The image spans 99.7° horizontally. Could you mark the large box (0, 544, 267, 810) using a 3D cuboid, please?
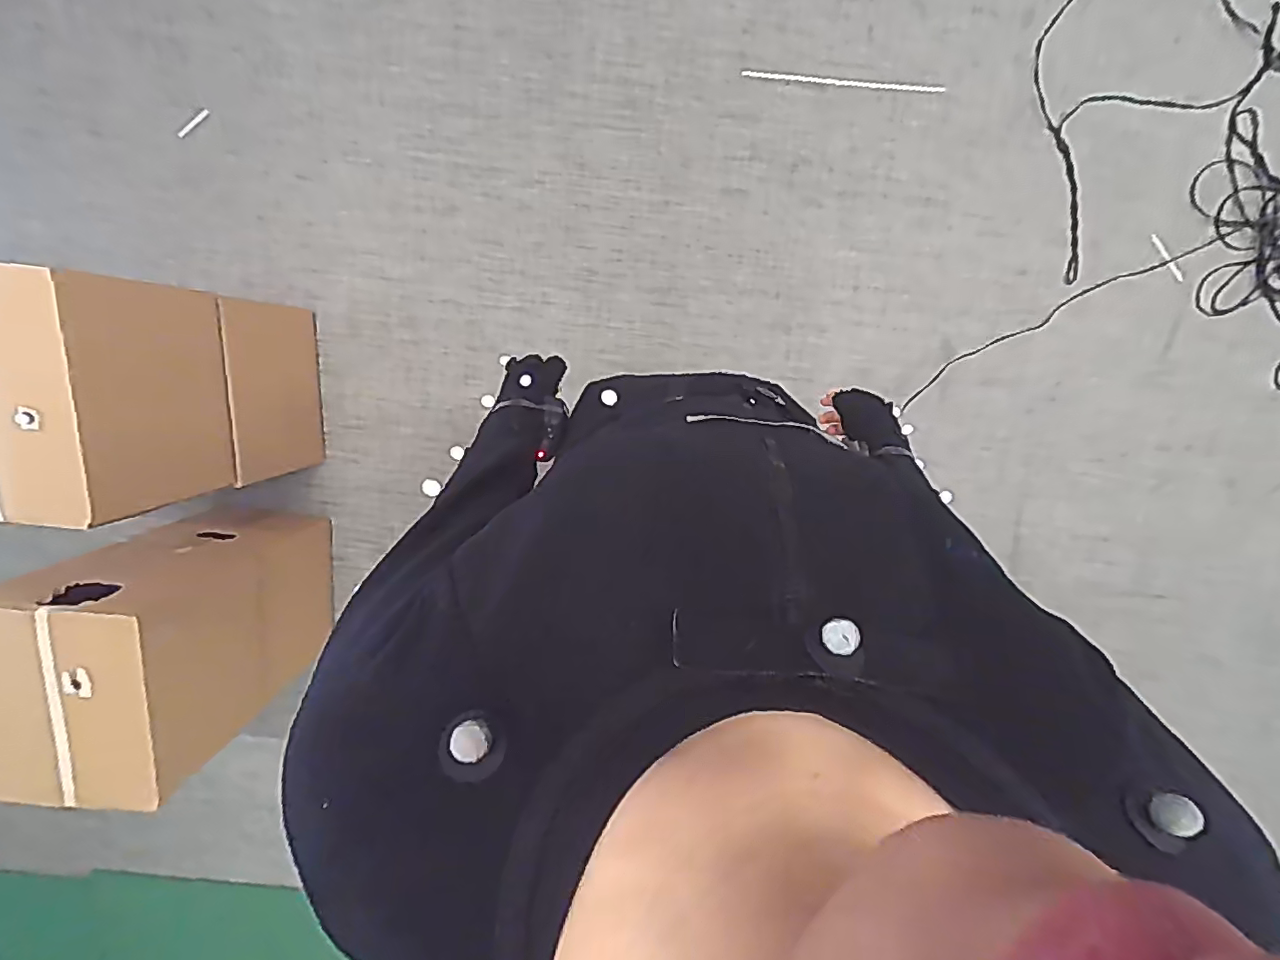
[{"bbox_3d":[-1.027,0.379,1.109,0.320,0.320,0.408,5,101,-2],"label":"large box"}]
